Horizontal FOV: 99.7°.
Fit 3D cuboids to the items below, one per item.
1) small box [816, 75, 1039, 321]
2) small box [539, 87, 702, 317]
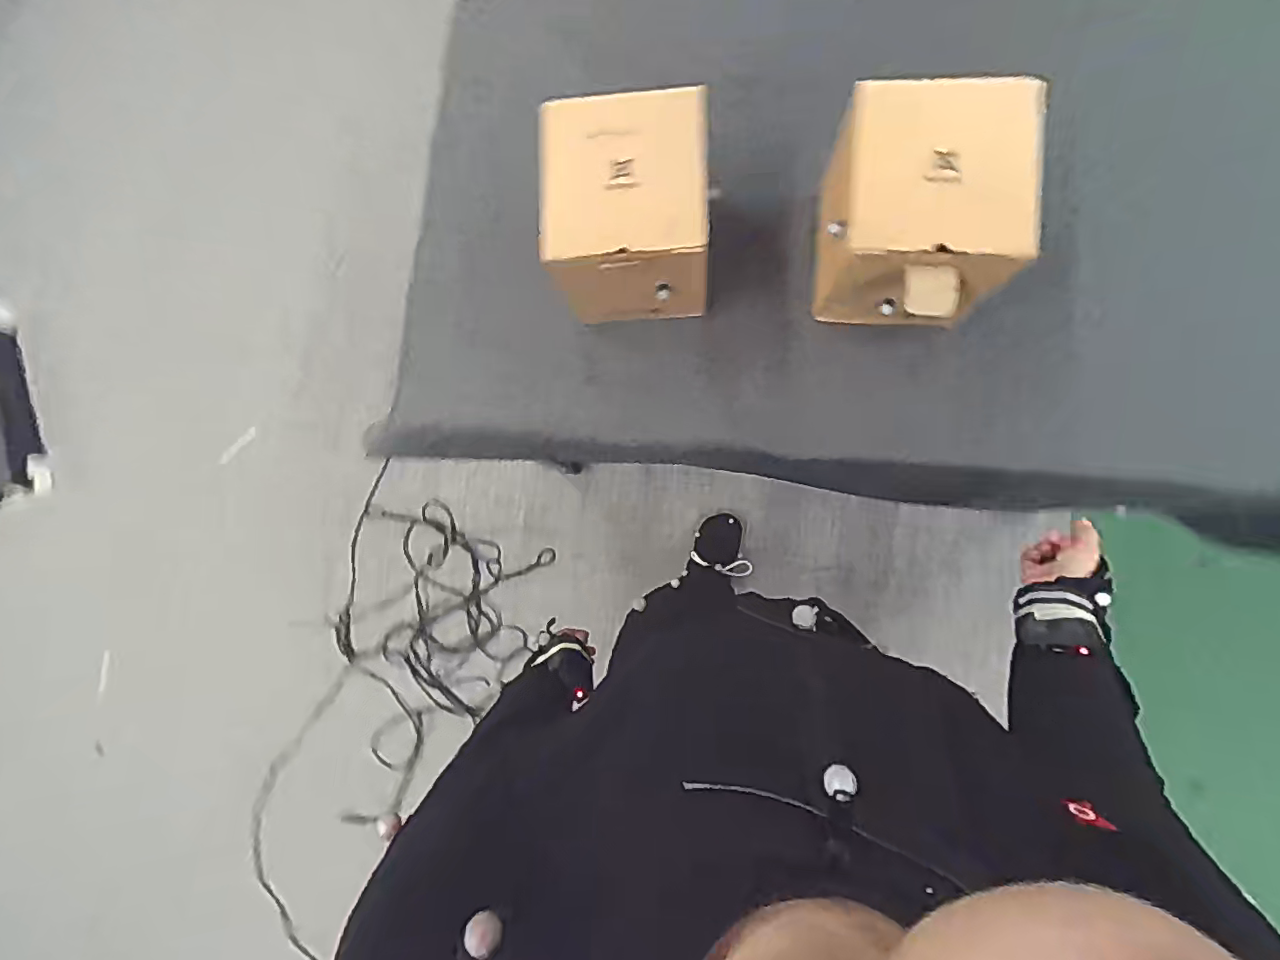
[{"bbox_3d":[0.293,-0.291,0.585,0.168,0.176,0.179,3,85,7],"label":"small box"},{"bbox_3d":[-0.013,-0.300,0.623,0.168,0.176,0.179,-3,83,5],"label":"small box"}]
